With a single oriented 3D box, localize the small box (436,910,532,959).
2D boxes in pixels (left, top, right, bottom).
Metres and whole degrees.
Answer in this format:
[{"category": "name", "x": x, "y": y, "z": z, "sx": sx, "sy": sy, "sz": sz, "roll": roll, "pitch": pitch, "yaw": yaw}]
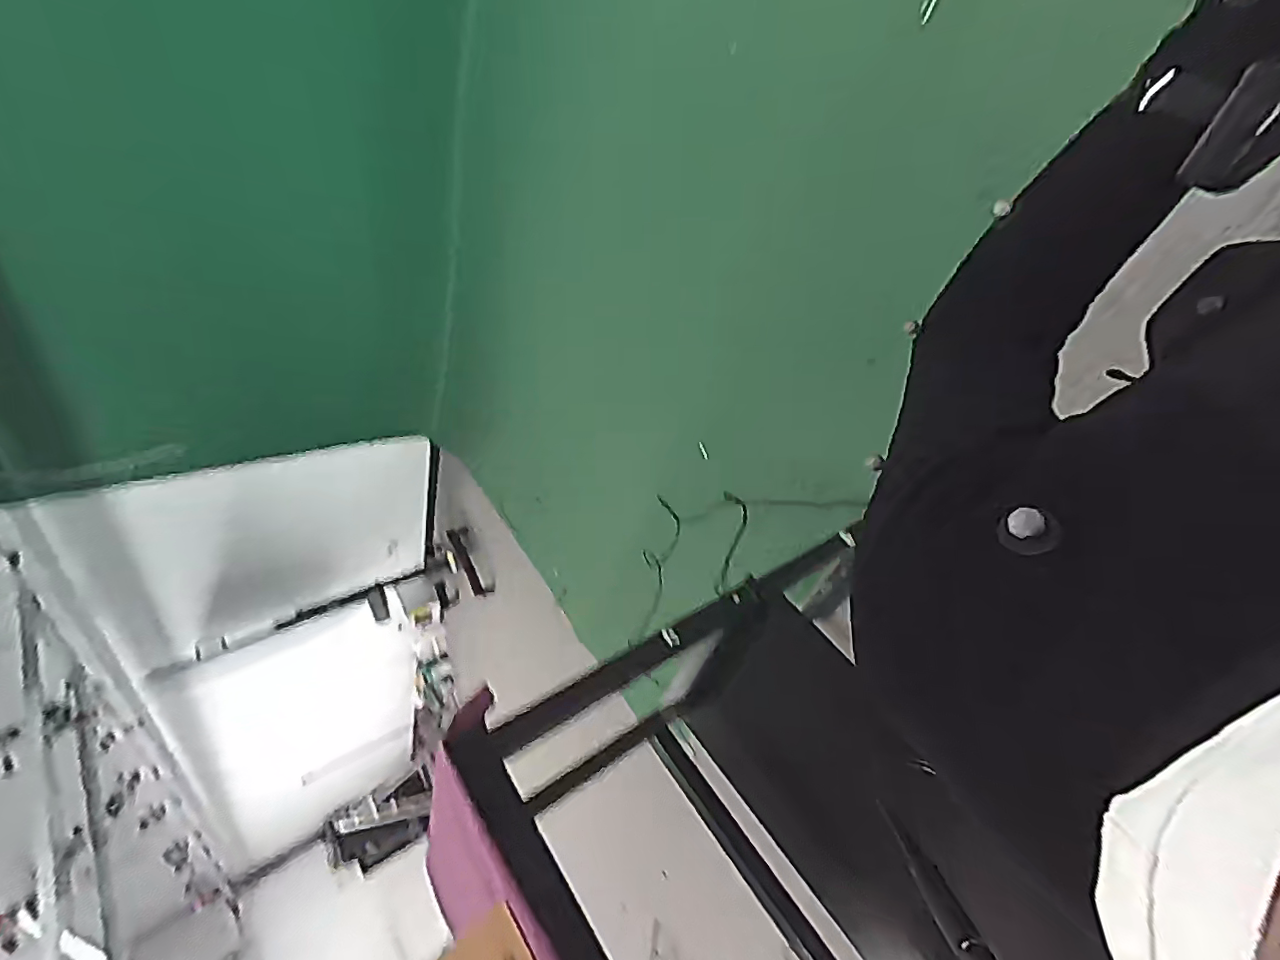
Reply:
[{"category": "small box", "x": -0.219, "y": 0.699, "z": 0.694, "sx": 0.168, "sy": 0.176, "sz": 0.179, "roll": 50, "pitch": 137, "yaw": 26}]
